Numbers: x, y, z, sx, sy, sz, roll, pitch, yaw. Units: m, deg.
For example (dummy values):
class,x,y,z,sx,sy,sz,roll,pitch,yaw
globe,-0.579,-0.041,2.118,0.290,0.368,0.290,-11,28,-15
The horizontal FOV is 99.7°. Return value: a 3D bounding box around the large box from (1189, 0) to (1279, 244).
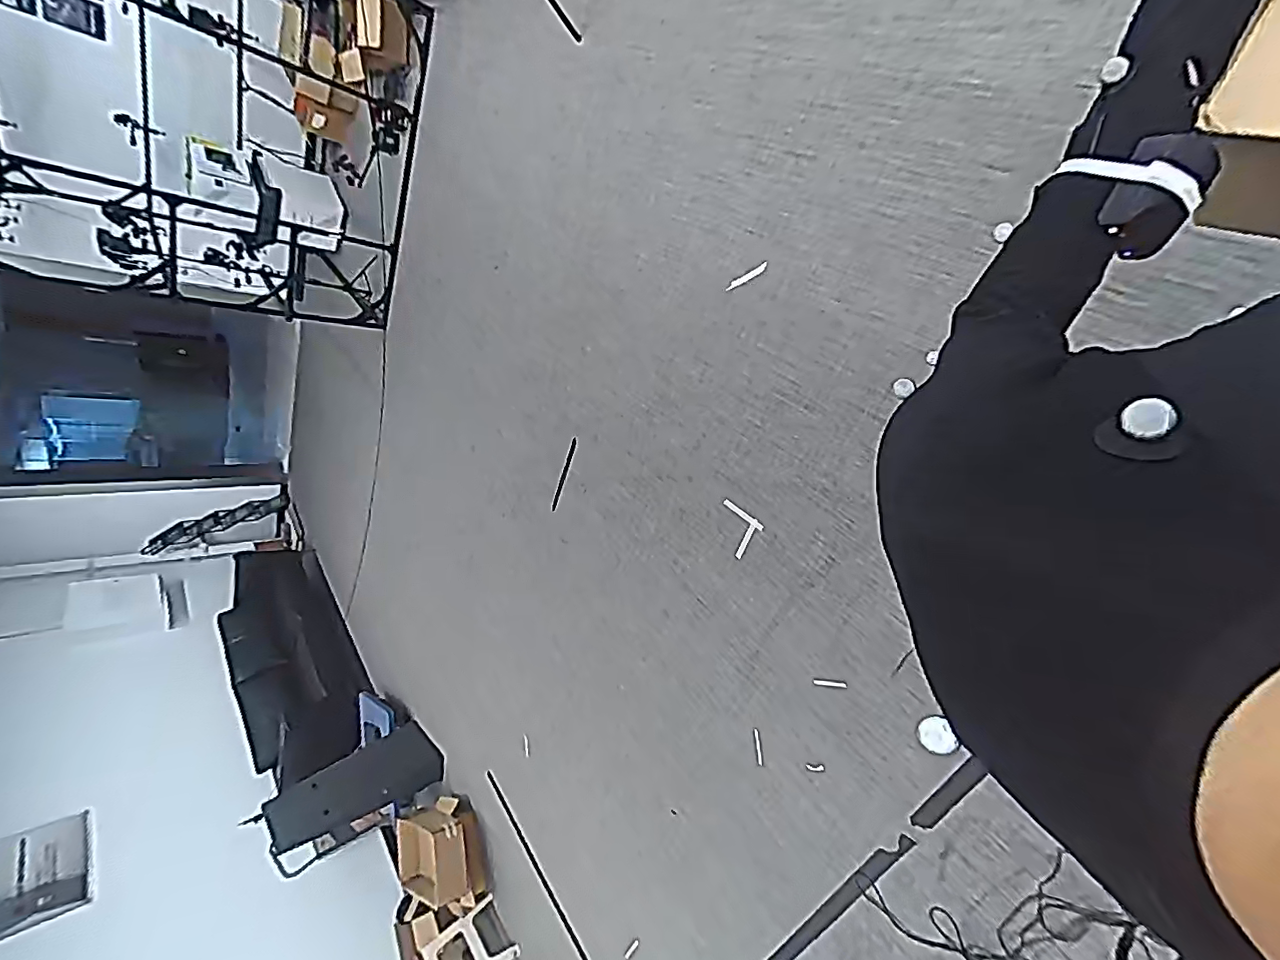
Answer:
class,x,y,z,sx,sy,sz,roll,pitch,yaw
large box,0.668,-0.308,0.319,0.408,0.320,0.320,36,121,37
